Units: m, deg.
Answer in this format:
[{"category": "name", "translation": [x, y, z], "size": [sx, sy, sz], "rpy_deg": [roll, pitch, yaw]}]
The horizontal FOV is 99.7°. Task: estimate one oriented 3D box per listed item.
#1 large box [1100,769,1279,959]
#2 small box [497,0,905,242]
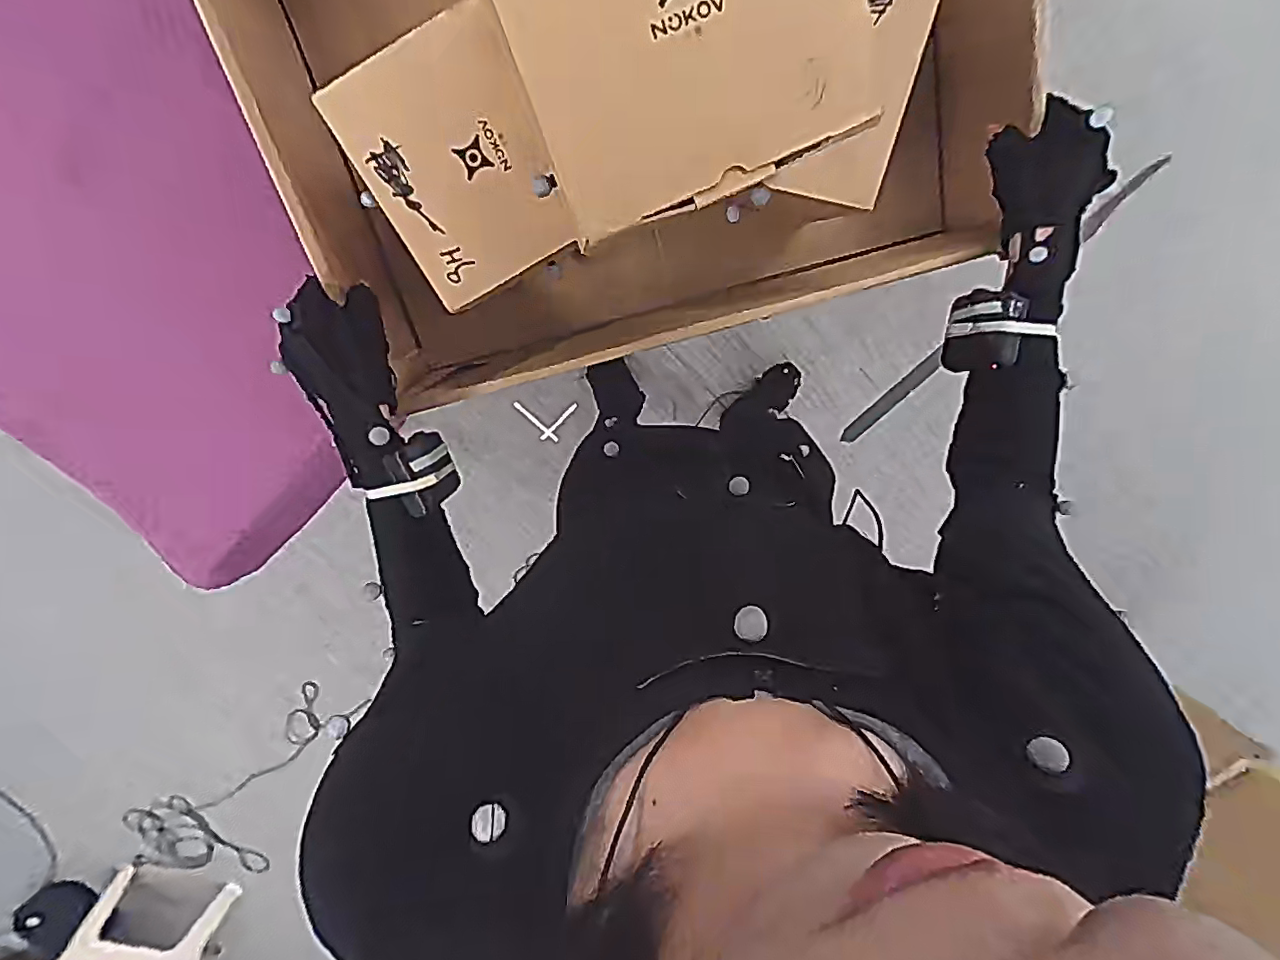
[{"category": "large box", "translation": [1.307, 0.898, 1.108], "size": [0.408, 0.320, 0.320], "rpy_deg": [-42, 105, 11]}, {"category": "small box", "translation": [0.016, -0.252, 0.308], "size": [0.168, 0.176, 0.179], "rpy_deg": [-22, 111, 2]}]
